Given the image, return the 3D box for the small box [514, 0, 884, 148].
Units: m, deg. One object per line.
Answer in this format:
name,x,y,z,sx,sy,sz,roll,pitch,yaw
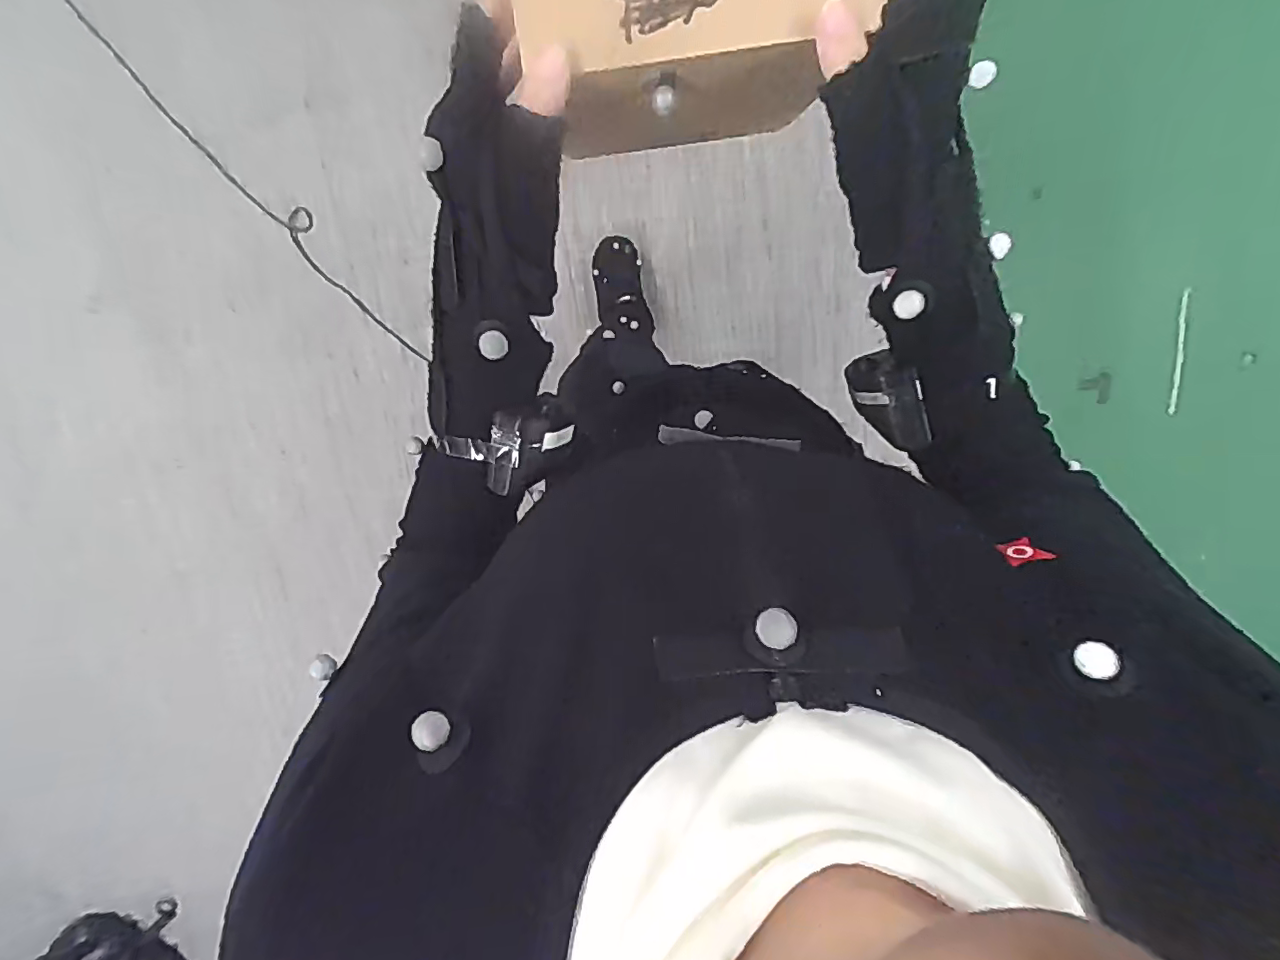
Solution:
small box,0.017,-0.306,0.288,0.168,0.176,0.179,-7,109,2
